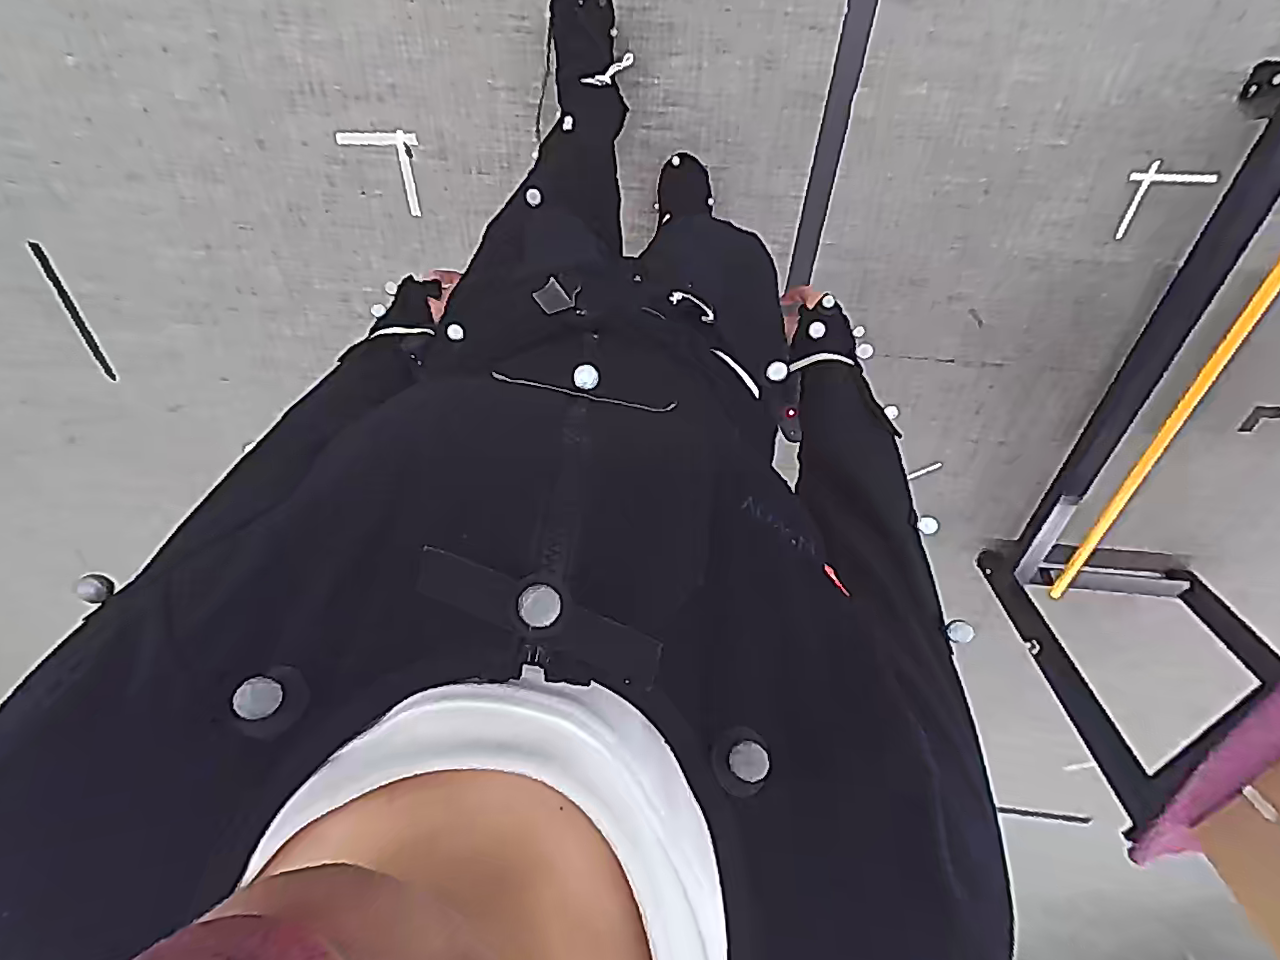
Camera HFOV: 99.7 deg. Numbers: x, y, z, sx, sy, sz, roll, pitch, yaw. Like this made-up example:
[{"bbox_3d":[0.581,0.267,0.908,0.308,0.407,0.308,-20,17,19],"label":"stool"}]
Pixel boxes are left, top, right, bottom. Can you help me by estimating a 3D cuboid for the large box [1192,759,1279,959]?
[{"bbox_3d":[1.150,0.591,0.735,0.408,0.320,0.320,4,126,3],"label":"large box"}]
